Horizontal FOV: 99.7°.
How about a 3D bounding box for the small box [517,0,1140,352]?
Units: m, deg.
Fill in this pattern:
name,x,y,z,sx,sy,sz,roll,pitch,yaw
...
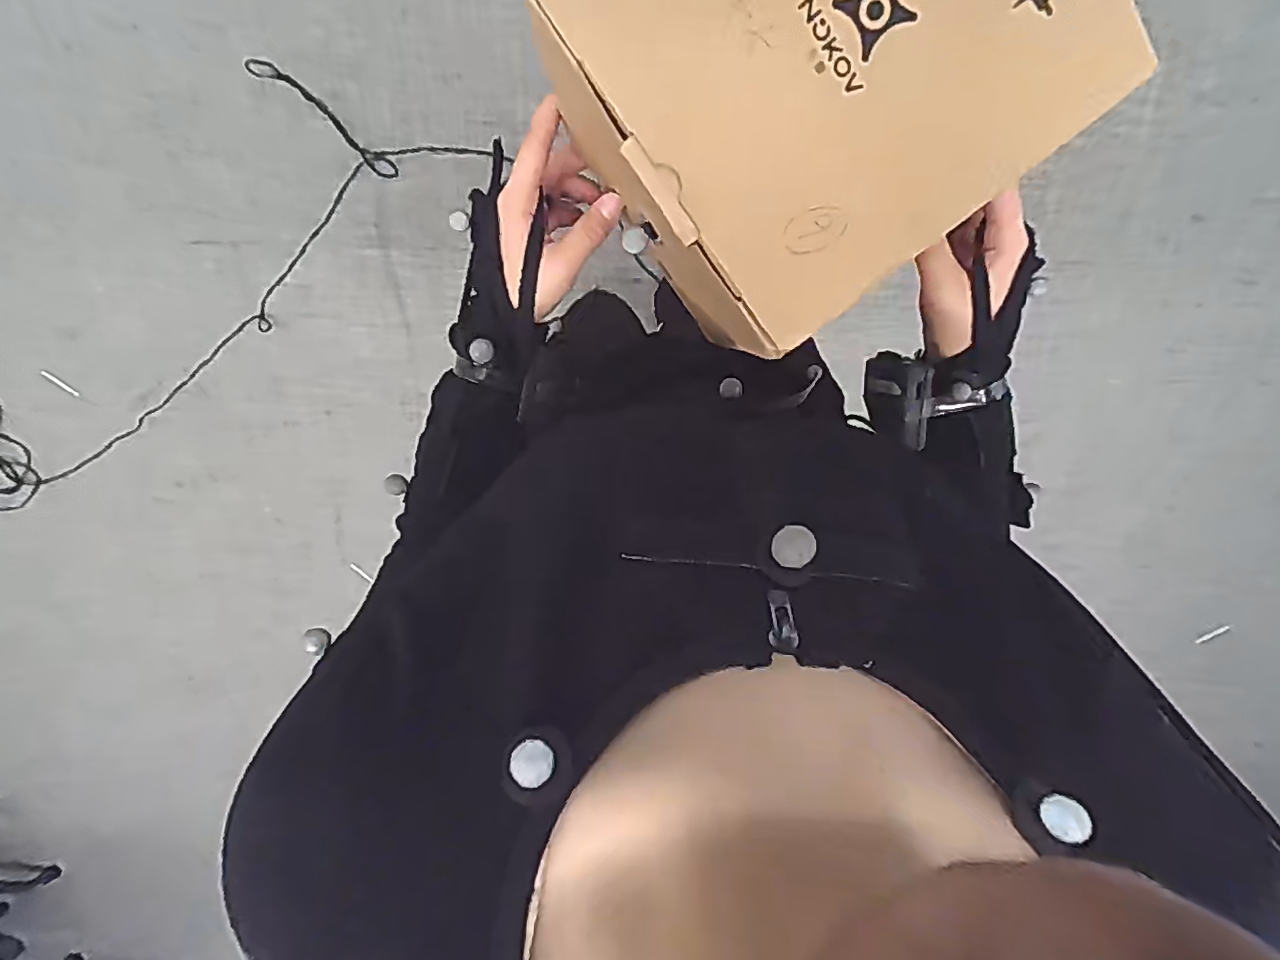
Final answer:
name,x,y,z,sx,sy,sz,roll,pitch,yaw
small box,0.071,-0.185,0.275,0.179,0.176,0.168,-37,103,9
